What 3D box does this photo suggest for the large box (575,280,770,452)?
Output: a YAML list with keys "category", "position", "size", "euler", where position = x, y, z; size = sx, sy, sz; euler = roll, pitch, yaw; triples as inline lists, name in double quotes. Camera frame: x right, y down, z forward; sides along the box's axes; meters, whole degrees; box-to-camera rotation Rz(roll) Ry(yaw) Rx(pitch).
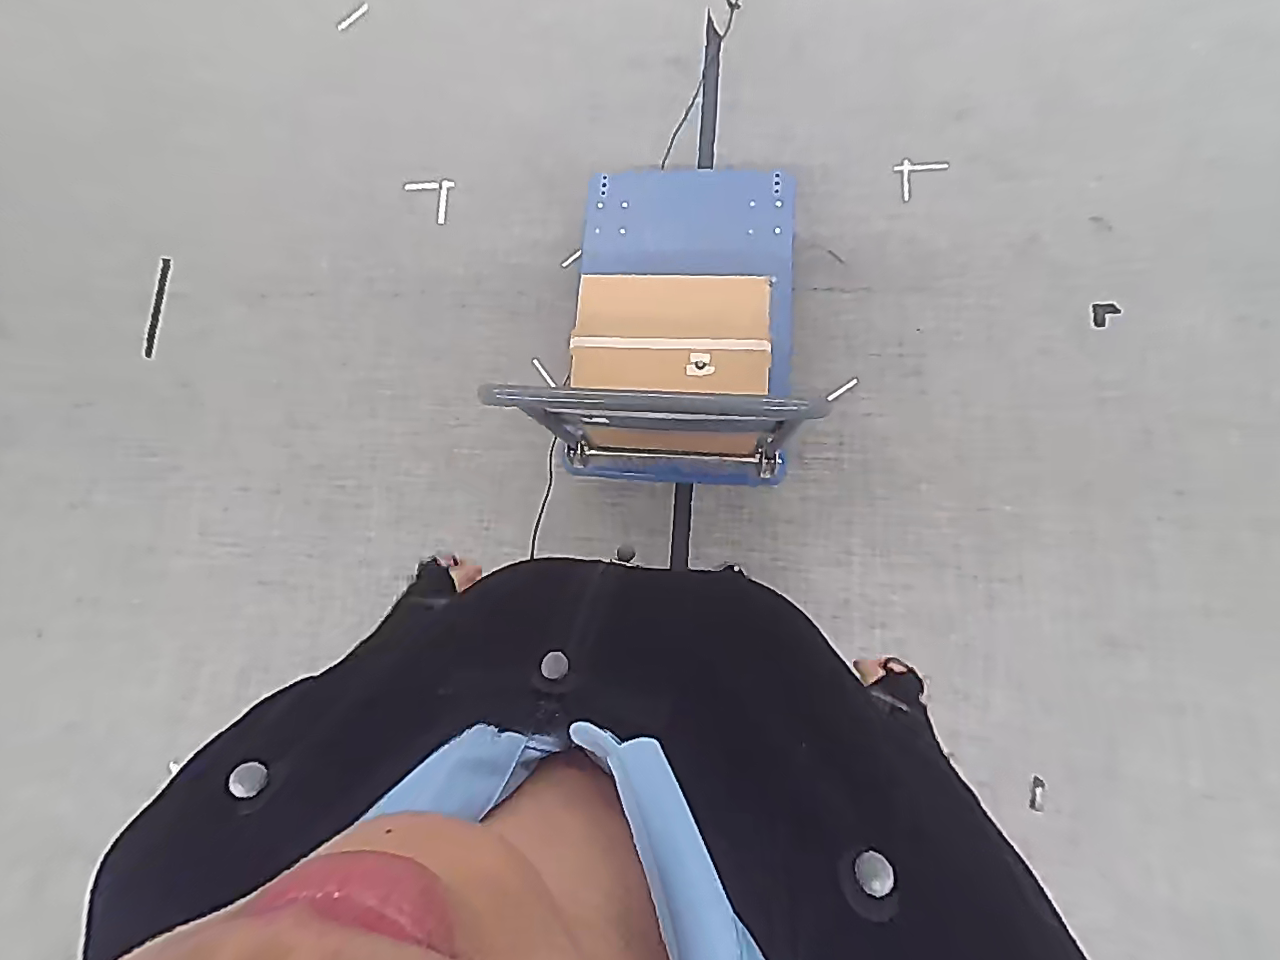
- category: "large box"
  position: [0.080, -0.252, 1.277]
  size: [0.408, 0.320, 0.320]
  euler: [3, 81, 6]
